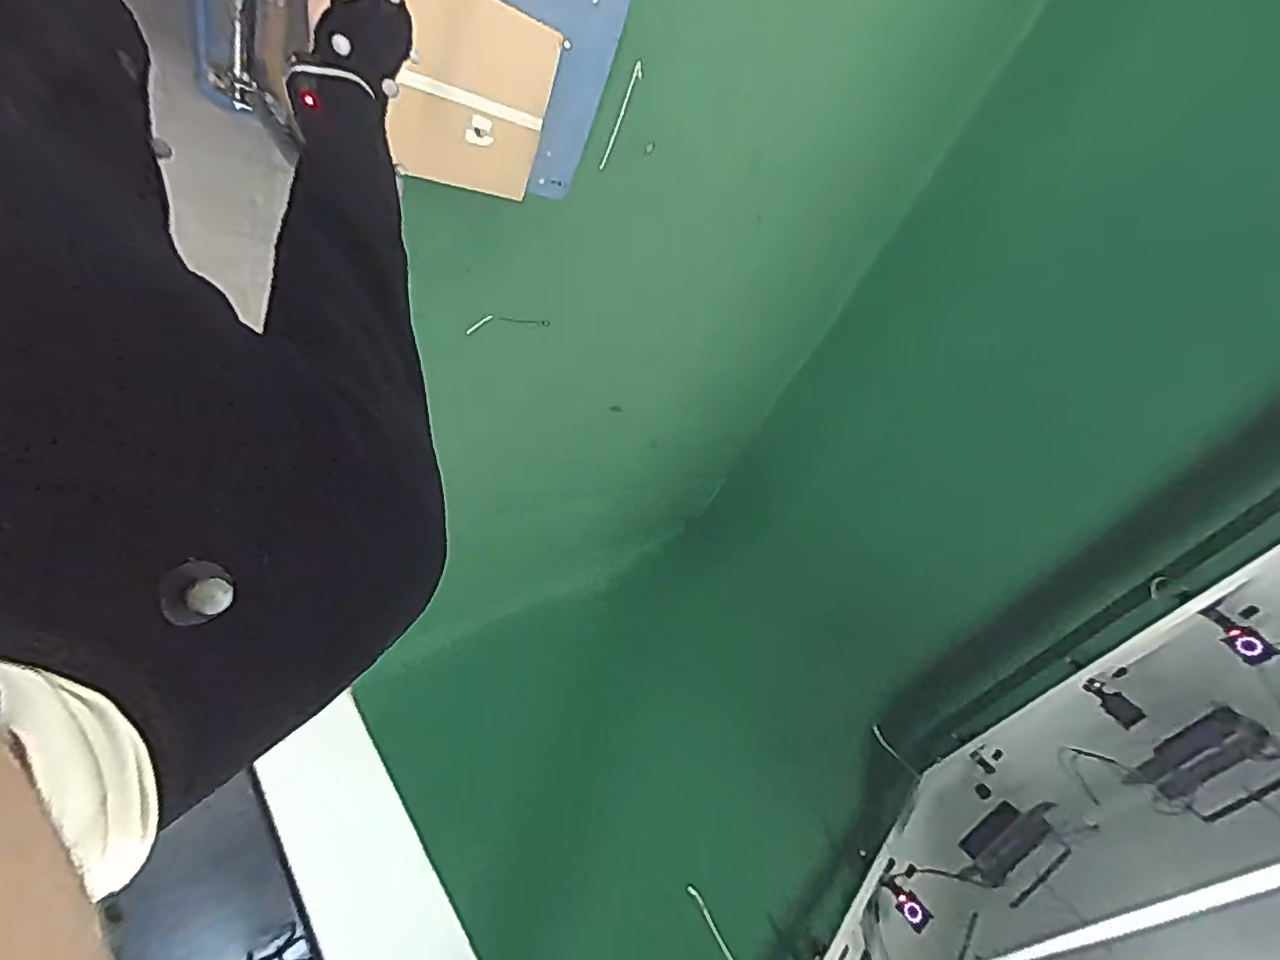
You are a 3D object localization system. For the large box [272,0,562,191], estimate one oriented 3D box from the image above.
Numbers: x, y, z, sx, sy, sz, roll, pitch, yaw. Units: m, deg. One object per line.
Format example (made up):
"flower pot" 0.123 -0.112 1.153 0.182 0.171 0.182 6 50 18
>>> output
"large box" -0.434 -0.811 1.042 0.408 0.320 0.320 -15 143 -46
